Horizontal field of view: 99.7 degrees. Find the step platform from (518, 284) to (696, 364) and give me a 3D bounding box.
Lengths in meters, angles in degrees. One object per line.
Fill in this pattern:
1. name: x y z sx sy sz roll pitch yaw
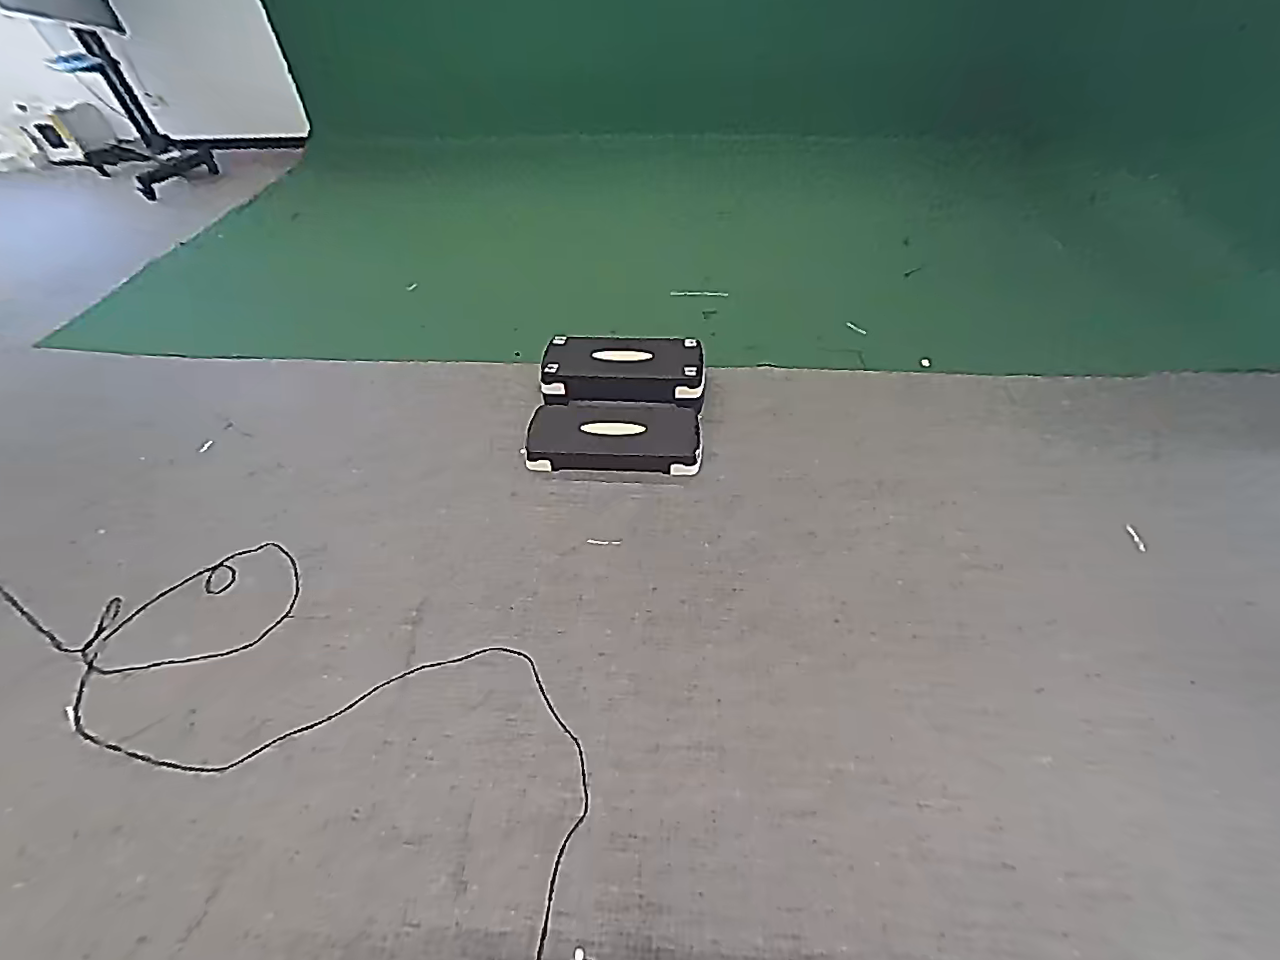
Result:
1. step platform: -0.122 -0.619 2.152 0.684 0.204 0.286 1 49 4
